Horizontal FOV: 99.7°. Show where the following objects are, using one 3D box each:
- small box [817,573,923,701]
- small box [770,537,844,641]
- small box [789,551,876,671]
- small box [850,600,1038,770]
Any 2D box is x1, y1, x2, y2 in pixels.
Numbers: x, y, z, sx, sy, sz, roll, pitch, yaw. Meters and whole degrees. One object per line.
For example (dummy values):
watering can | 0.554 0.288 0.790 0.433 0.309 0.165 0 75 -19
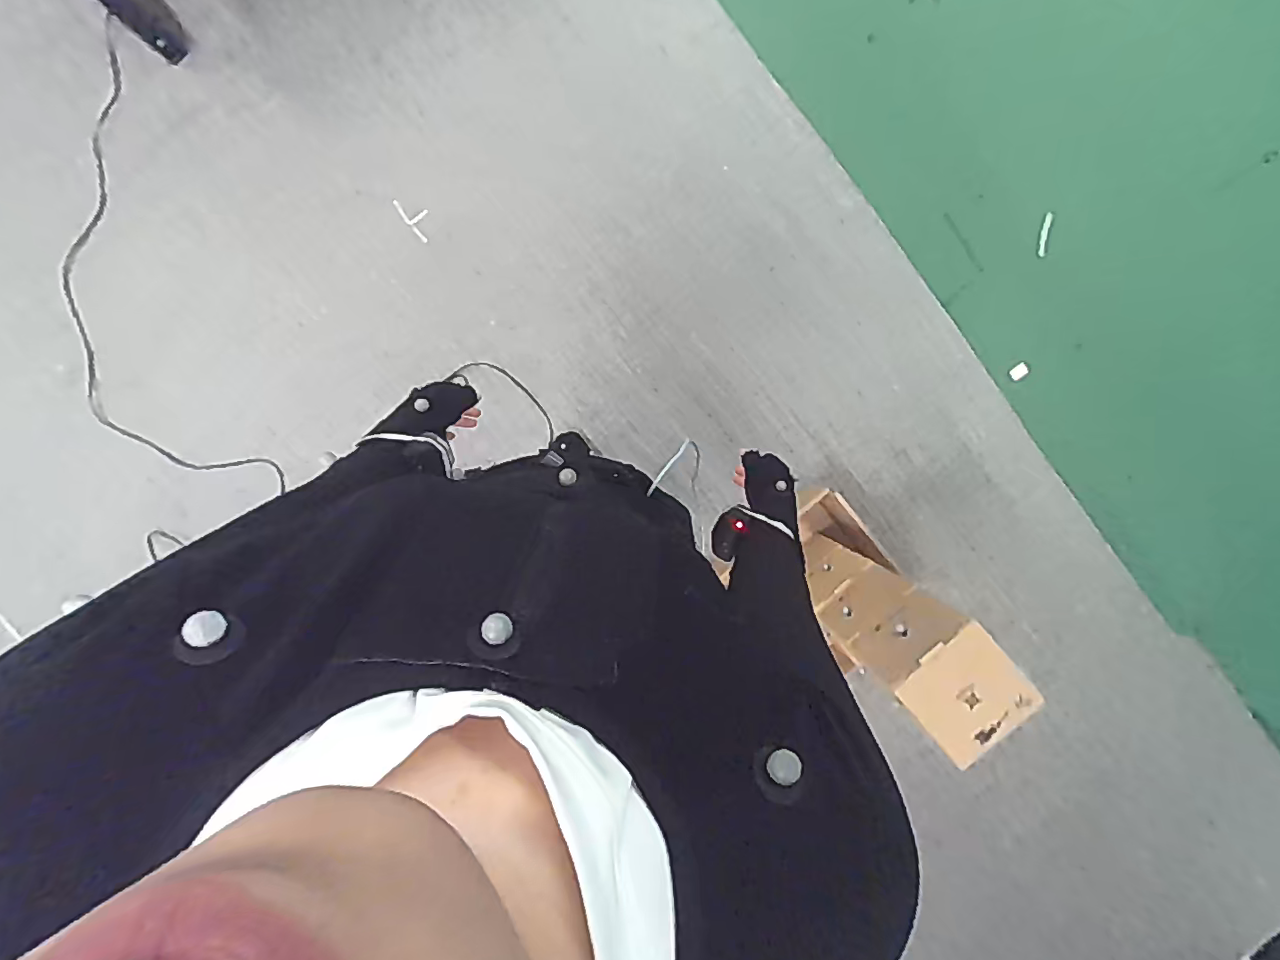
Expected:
small box | 0.478 0.302 1.055 0.168 0.176 0.179 -41 95 3
small box | 0.461 0.268 1.379 0.168 0.176 0.179 -38 95 1
small box | 0.468 0.283 1.217 0.168 0.176 0.179 -39 95 2
small box | 0.484 0.320 0.892 0.168 0.176 0.179 -41 94 3
